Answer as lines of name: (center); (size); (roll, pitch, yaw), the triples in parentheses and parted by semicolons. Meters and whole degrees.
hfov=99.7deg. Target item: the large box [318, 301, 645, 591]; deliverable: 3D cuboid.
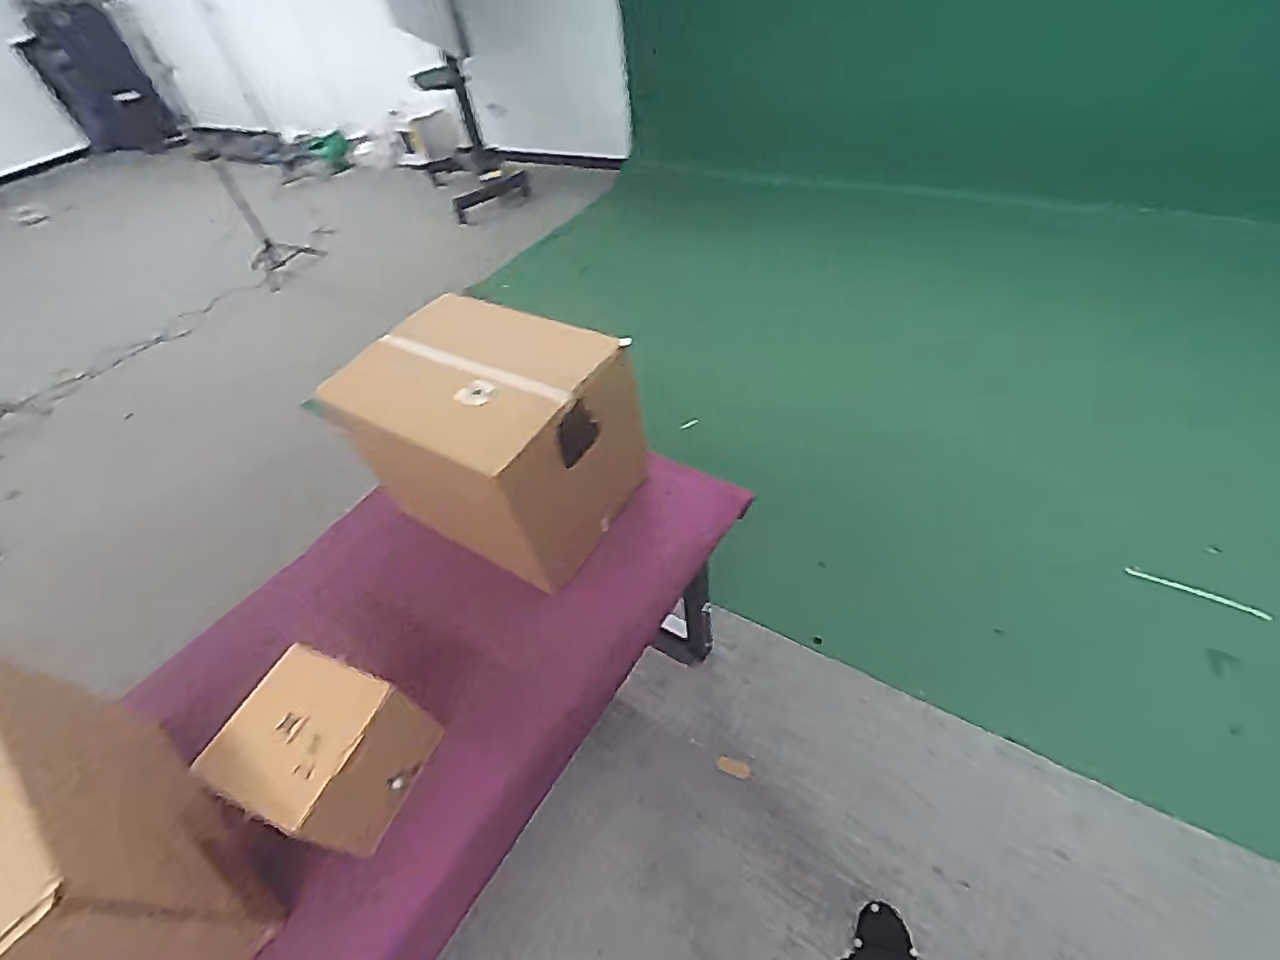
large box: (-0.248, -0.070, 0.957); (0.408, 0.320, 0.320); (21, 57, 25)
